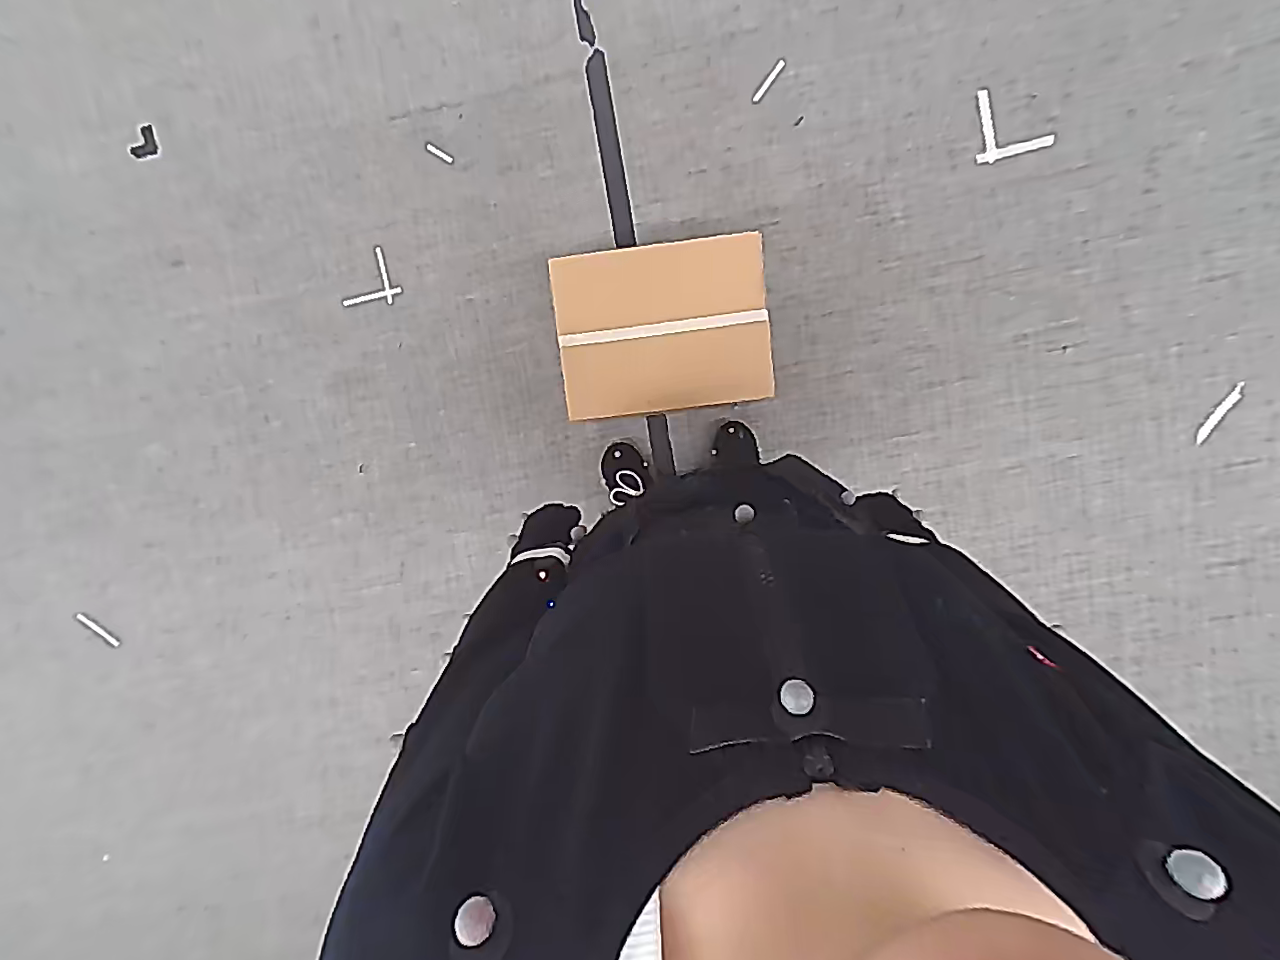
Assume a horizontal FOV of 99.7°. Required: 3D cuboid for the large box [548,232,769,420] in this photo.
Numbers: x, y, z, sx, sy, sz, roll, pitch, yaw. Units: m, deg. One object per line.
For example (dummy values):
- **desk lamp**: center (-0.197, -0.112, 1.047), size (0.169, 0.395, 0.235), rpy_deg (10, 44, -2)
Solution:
- **large box**: center (0.044, -0.312, 1.190), size (0.408, 0.320, 0.320), rpy_deg (-6, 96, 3)
